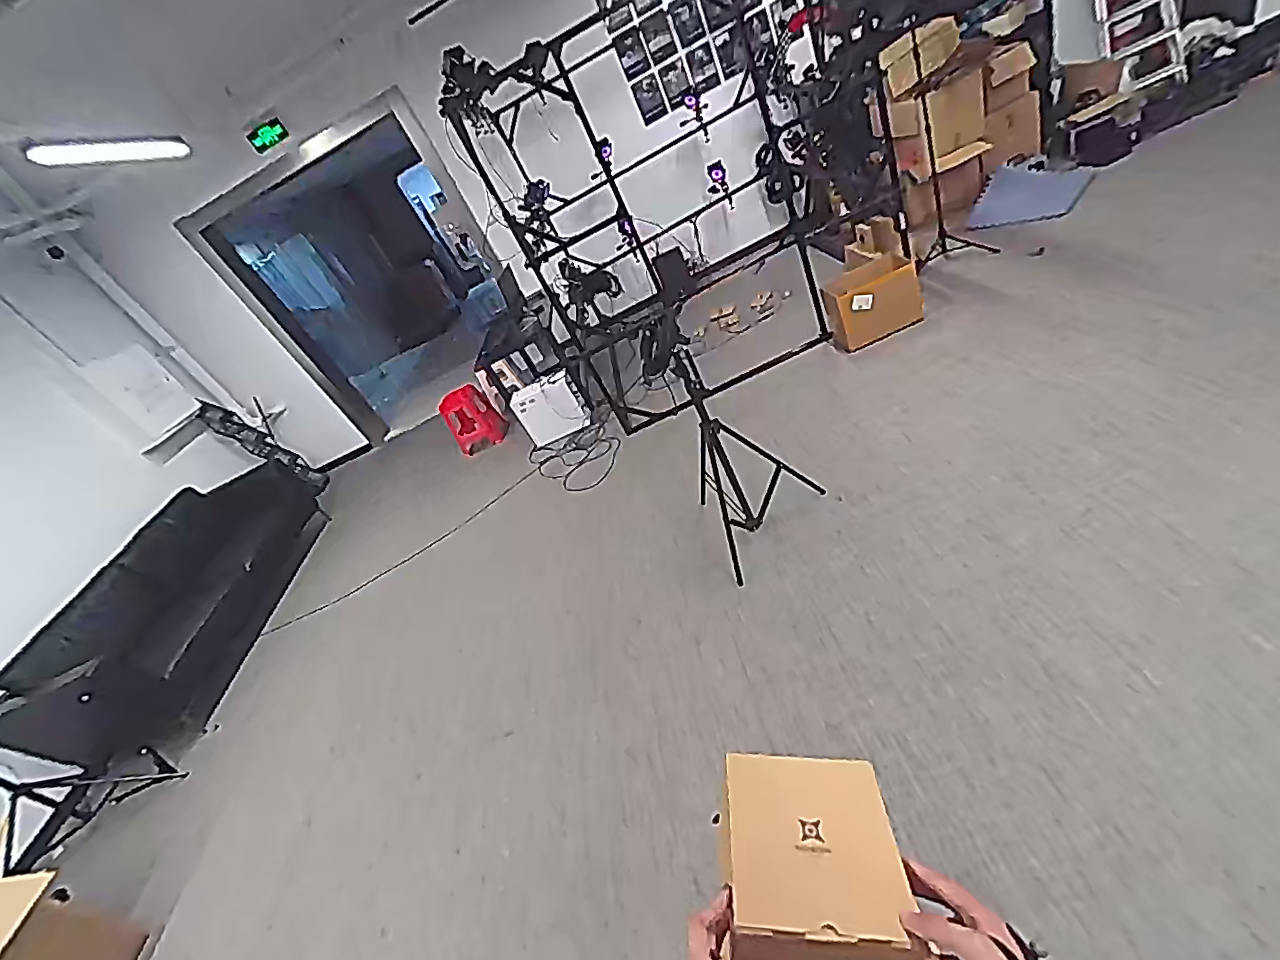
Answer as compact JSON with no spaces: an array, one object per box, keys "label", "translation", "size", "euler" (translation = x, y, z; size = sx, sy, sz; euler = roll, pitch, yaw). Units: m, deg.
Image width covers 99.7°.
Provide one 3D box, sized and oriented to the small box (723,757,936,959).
[{"label":"small box","translation":[0.178,0.429,0.571],"size":[0.168,0.176,0.179],"euler":[0,27,5]}]
